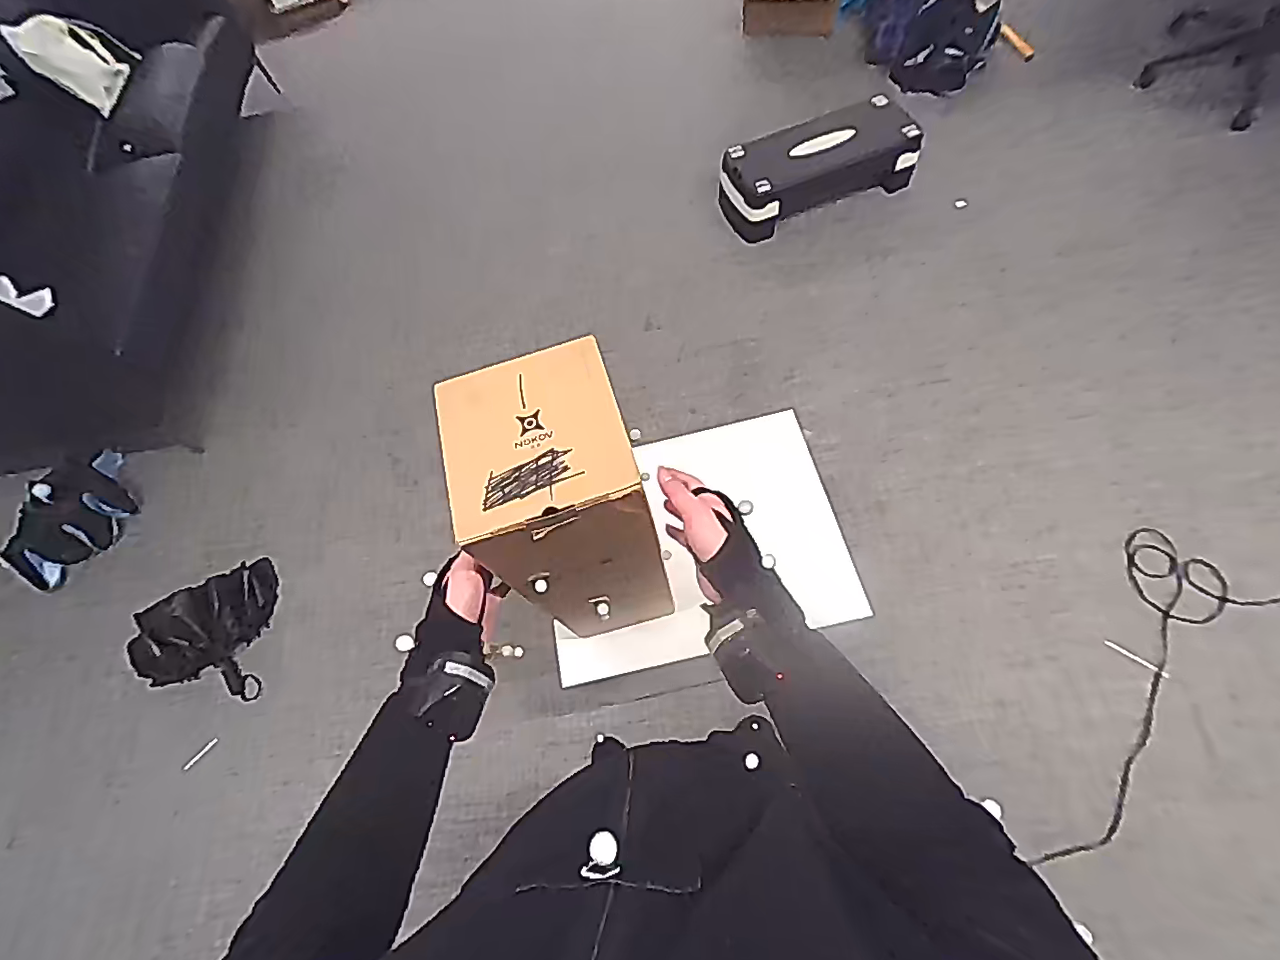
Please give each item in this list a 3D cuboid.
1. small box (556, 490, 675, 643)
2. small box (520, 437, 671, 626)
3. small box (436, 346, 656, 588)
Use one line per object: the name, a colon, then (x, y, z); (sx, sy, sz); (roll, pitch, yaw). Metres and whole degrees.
small box: (-0.046, 0.140, 0.853); (0.168, 0.176, 0.179); (-15, 63, 0)
small box: (-0.065, 0.072, 0.707); (0.168, 0.176, 0.179); (-18, 64, 0)
small box: (-0.089, 0.000, 0.561); (0.168, 0.176, 0.179); (-18, 62, -1)
